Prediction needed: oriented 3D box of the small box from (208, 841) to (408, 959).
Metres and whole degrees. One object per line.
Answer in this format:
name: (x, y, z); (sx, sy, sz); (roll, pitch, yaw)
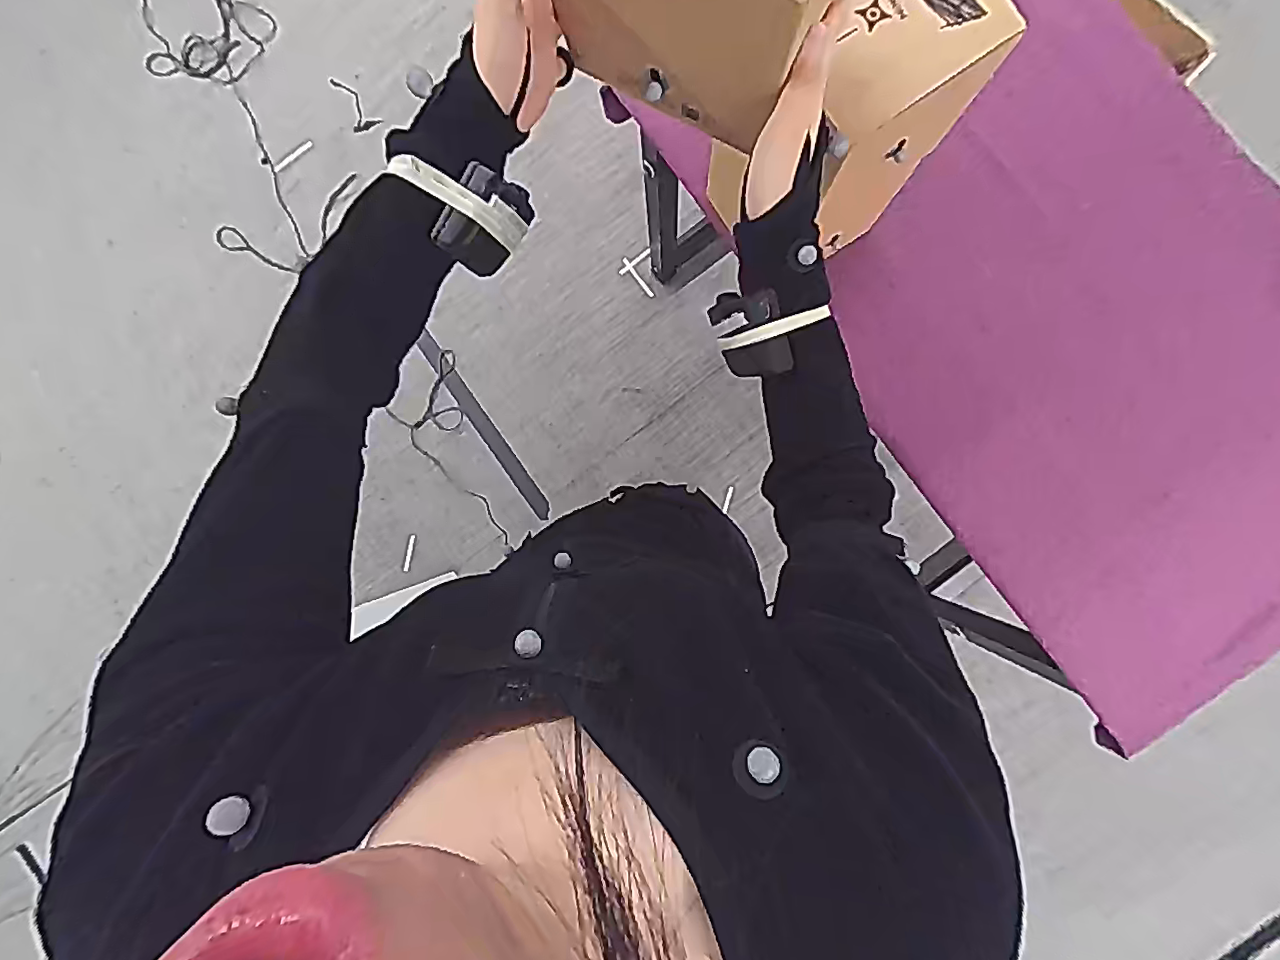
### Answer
small box: (-0.425, 0.613, 0.684); (0.179, 0.176, 0.168); (-37, 87, 2)

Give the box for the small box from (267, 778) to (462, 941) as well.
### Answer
small box: (-0.417, 0.618, 0.847); (0.179, 0.176, 0.168); (-35, 87, 3)

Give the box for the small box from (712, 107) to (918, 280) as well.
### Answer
small box: (0.208, -0.384, 0.695); (0.168, 0.176, 0.179); (-32, 87, 2)

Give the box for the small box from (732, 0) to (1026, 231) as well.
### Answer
small box: (0.209, -0.389, 0.530); (0.179, 0.176, 0.168); (-33, 88, 3)

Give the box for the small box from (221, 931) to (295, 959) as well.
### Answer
small box: (-0.437, 0.609, 0.522); (0.179, 0.176, 0.168); (-37, 88, 1)
